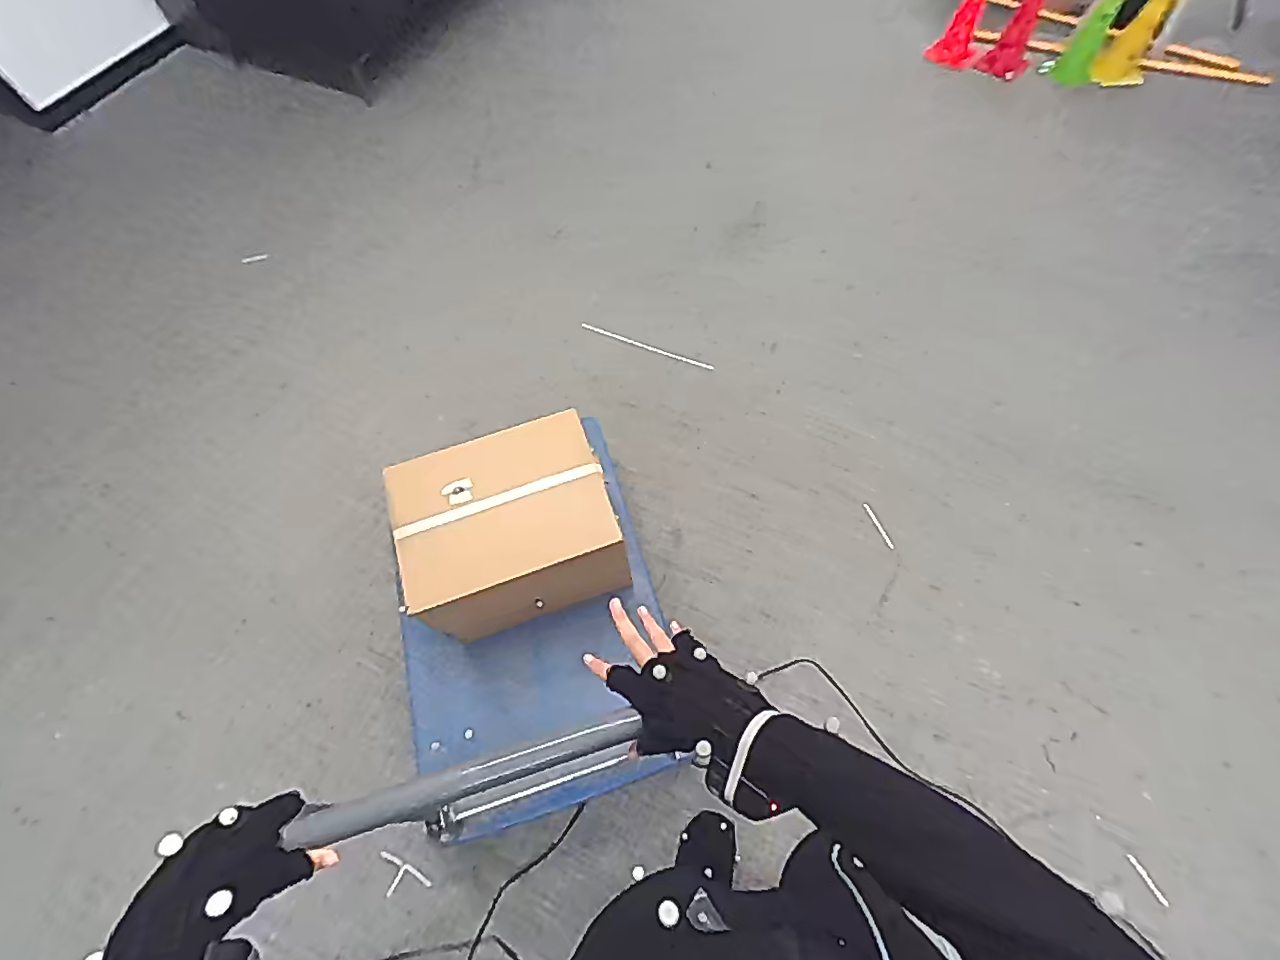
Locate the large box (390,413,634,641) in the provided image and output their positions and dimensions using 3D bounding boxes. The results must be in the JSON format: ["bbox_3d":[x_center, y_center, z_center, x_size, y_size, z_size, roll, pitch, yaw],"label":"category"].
[{"bbox_3d":[-0.257,0.115,1.175,0.408,0.320,0.320,-19,64,-5],"label":"large box"}]
